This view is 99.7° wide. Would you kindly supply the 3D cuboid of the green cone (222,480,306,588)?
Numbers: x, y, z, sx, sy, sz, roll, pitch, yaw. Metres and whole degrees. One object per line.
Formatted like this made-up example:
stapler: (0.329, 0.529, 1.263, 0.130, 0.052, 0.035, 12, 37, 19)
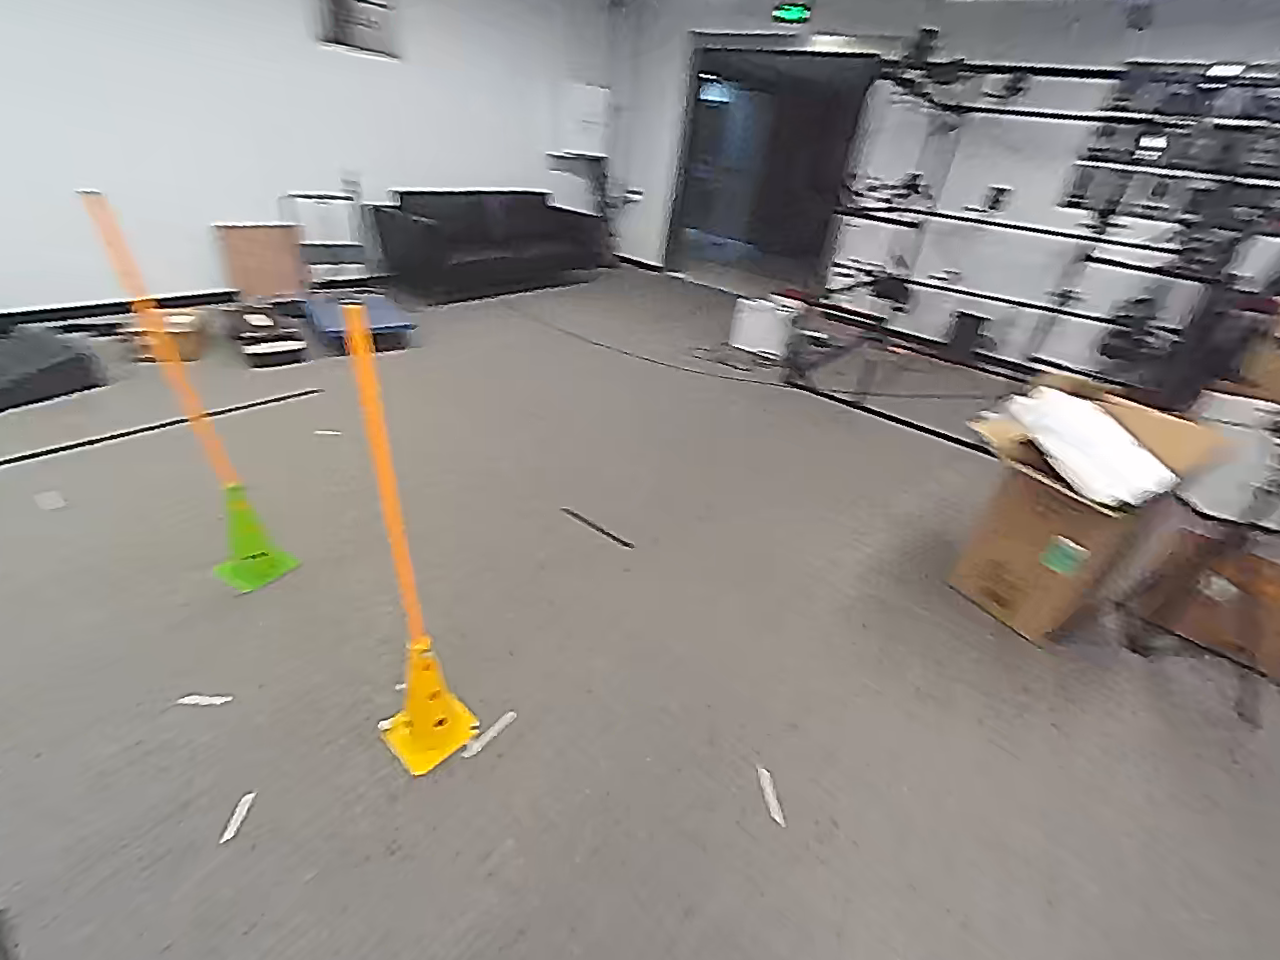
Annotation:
green cone: (-1.329, 0.158, 1.856, 0.202, 0.368, 0.200, 23, 35, 19)
